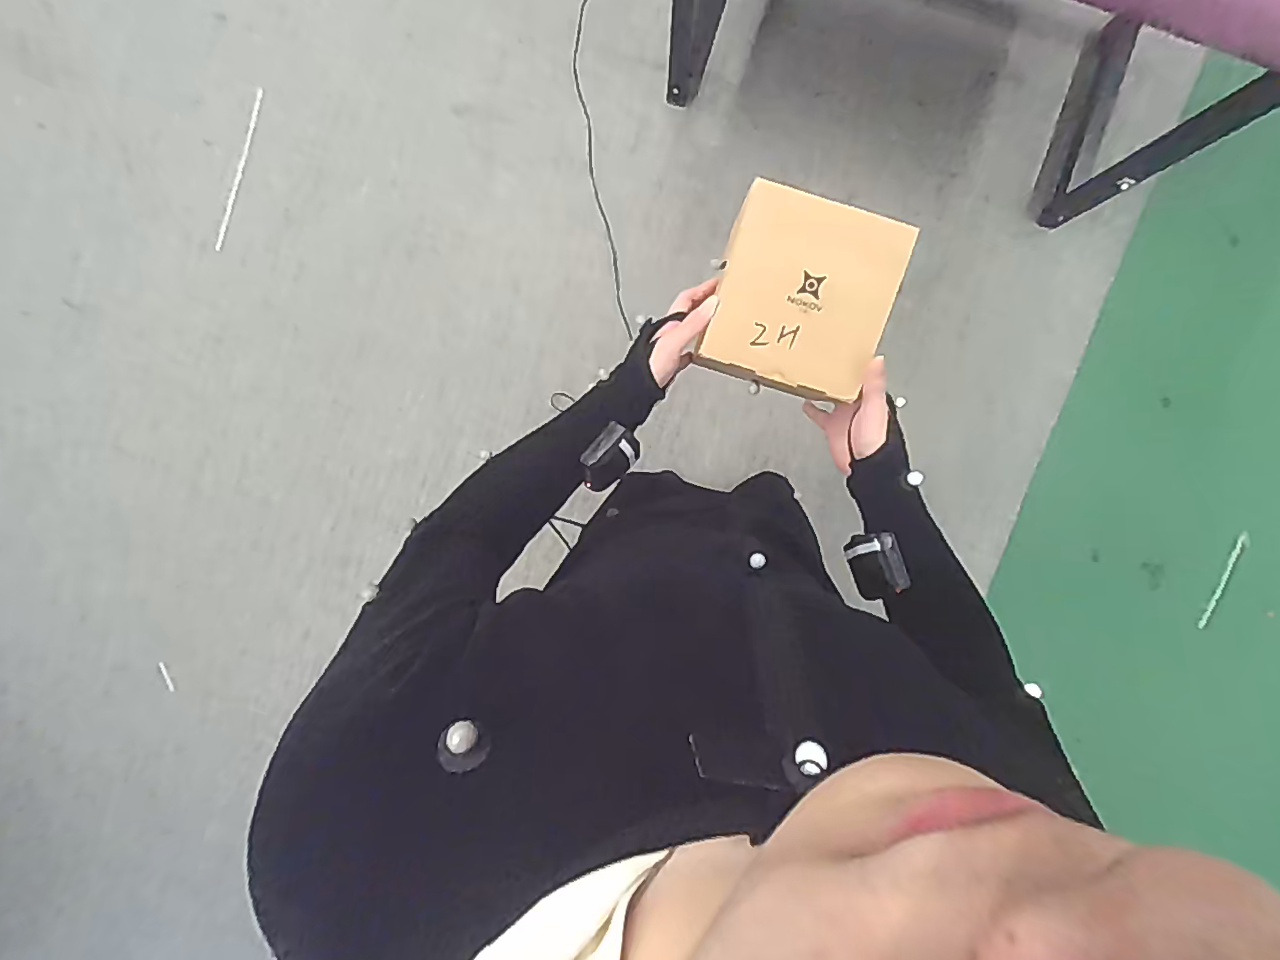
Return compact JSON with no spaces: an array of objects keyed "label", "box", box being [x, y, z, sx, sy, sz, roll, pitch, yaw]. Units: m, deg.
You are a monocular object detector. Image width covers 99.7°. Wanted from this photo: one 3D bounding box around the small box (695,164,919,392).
[{"label":"small box","box":[0.165,-0.208,0.603,0.168,0.176,0.179,17,102,-1]}]
